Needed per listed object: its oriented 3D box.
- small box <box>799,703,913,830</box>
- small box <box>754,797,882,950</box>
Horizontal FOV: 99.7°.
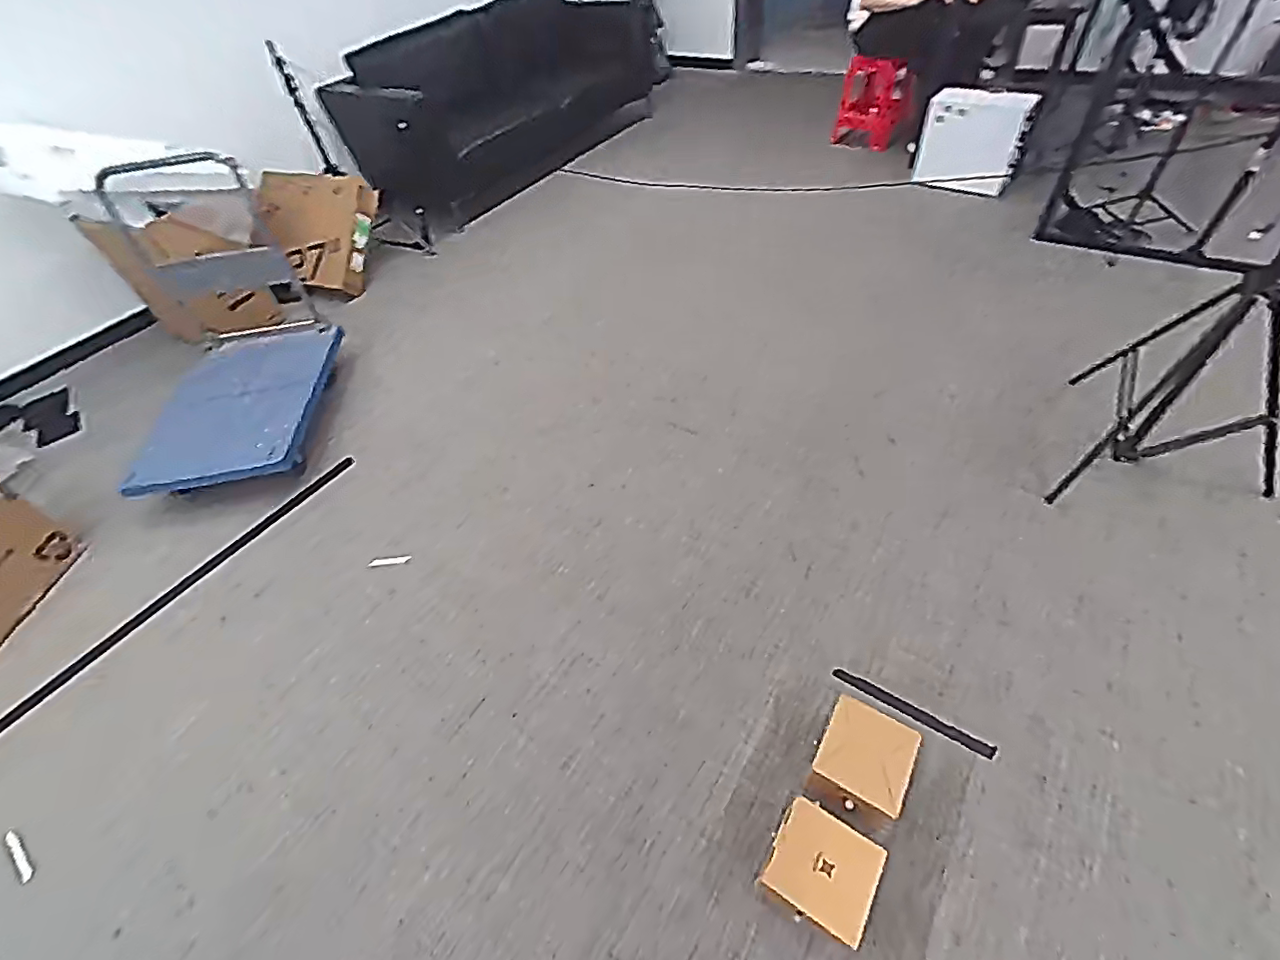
[{"bbox_3d":[0.458,0.601,1.150,0.168,0.176,0.179,23,56,25],"label":"small box"},{"bbox_3d":[0.335,0.753,1.042,0.179,0.176,0.168,24,57,26],"label":"small box"}]
